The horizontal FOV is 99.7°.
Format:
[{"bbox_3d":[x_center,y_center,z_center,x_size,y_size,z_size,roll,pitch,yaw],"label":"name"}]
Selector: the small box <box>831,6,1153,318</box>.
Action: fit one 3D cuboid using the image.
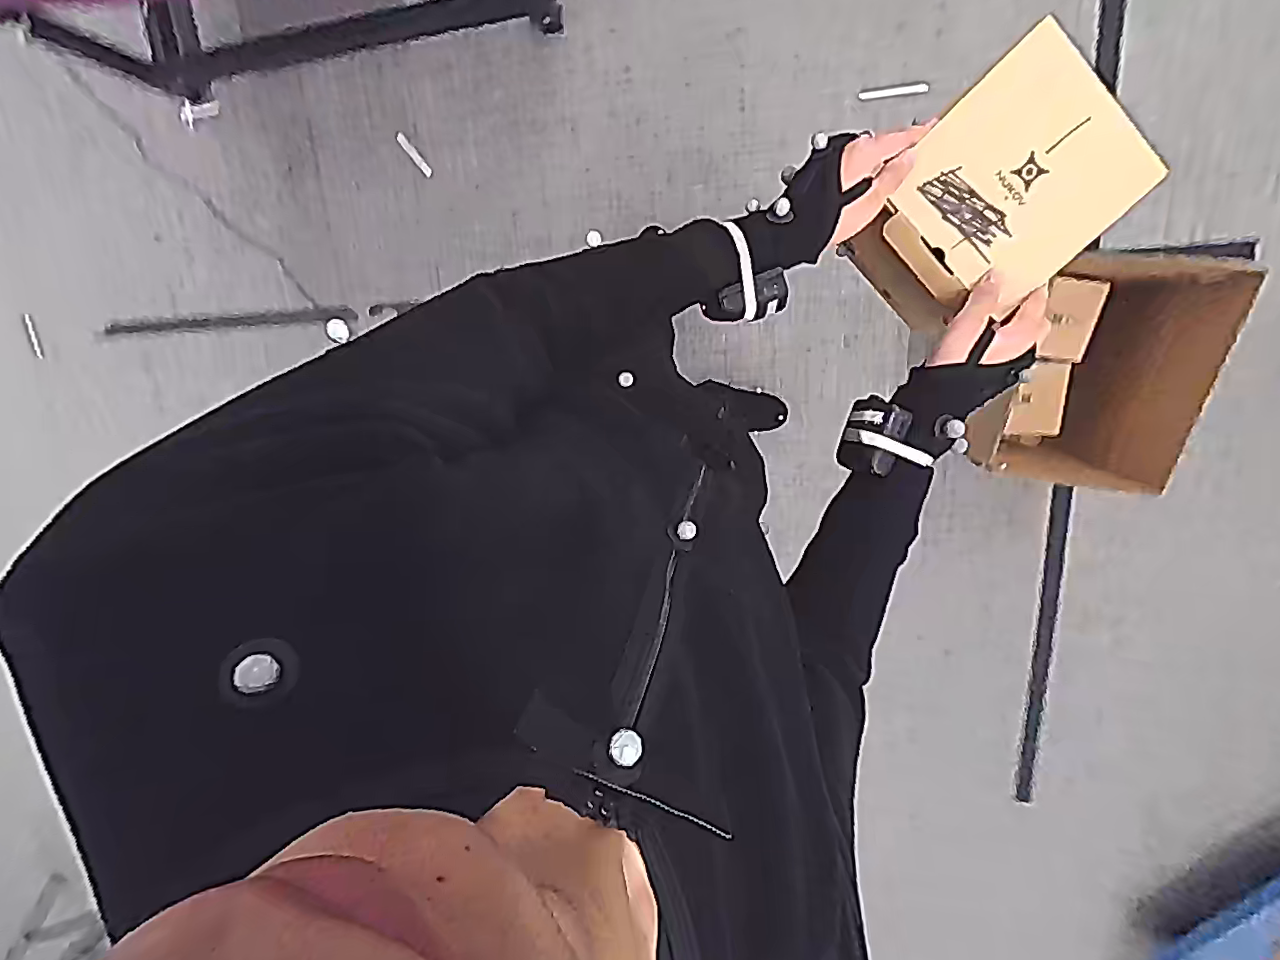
[{"bbox_3d":[0.313,-0.280,0.531,0.168,0.176,0.179,44,101,-7],"label":"small box"}]
